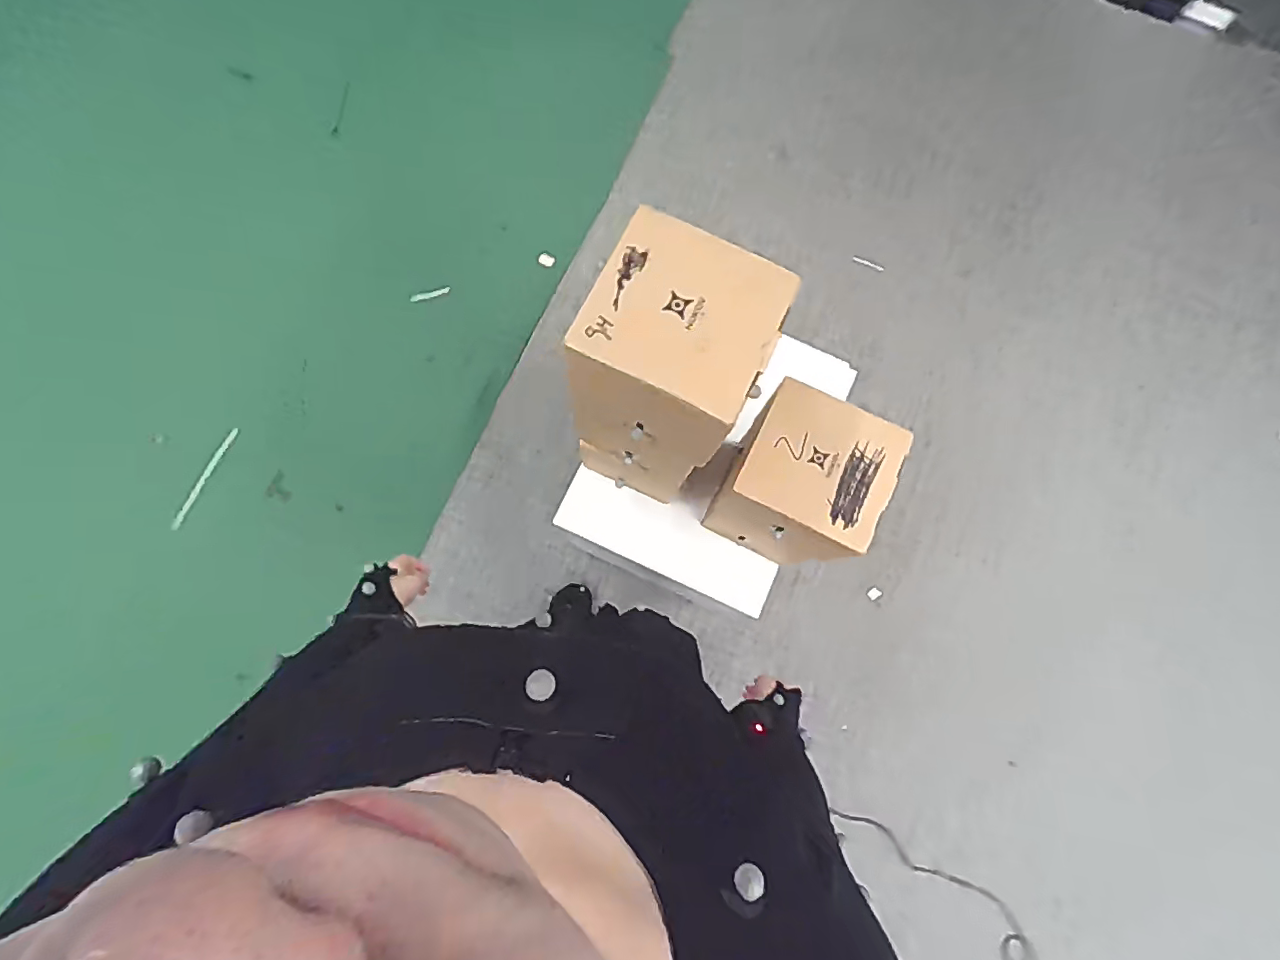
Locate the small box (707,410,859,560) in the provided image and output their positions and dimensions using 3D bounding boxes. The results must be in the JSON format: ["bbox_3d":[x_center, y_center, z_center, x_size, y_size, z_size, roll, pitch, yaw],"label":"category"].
[{"bbox_3d":[0.223,0.017,0.892,0.168,0.176,0.179,27,80,4],"label":"small box"}]

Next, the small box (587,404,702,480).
[{"bbox_3d":[0.031,-0.122,0.744,0.168,0.176,0.179,27,79,2],"label":"small box"}]

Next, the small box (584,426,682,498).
[{"bbox_3d":[0.017,-0.089,0.904,0.168,0.176,0.179,26,80,2],"label":"small box"}]

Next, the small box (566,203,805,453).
[{"bbox_3d":[0.040,-0.143,0.580,0.179,0.176,0.168,28,78,1],"label":"small box"}]
